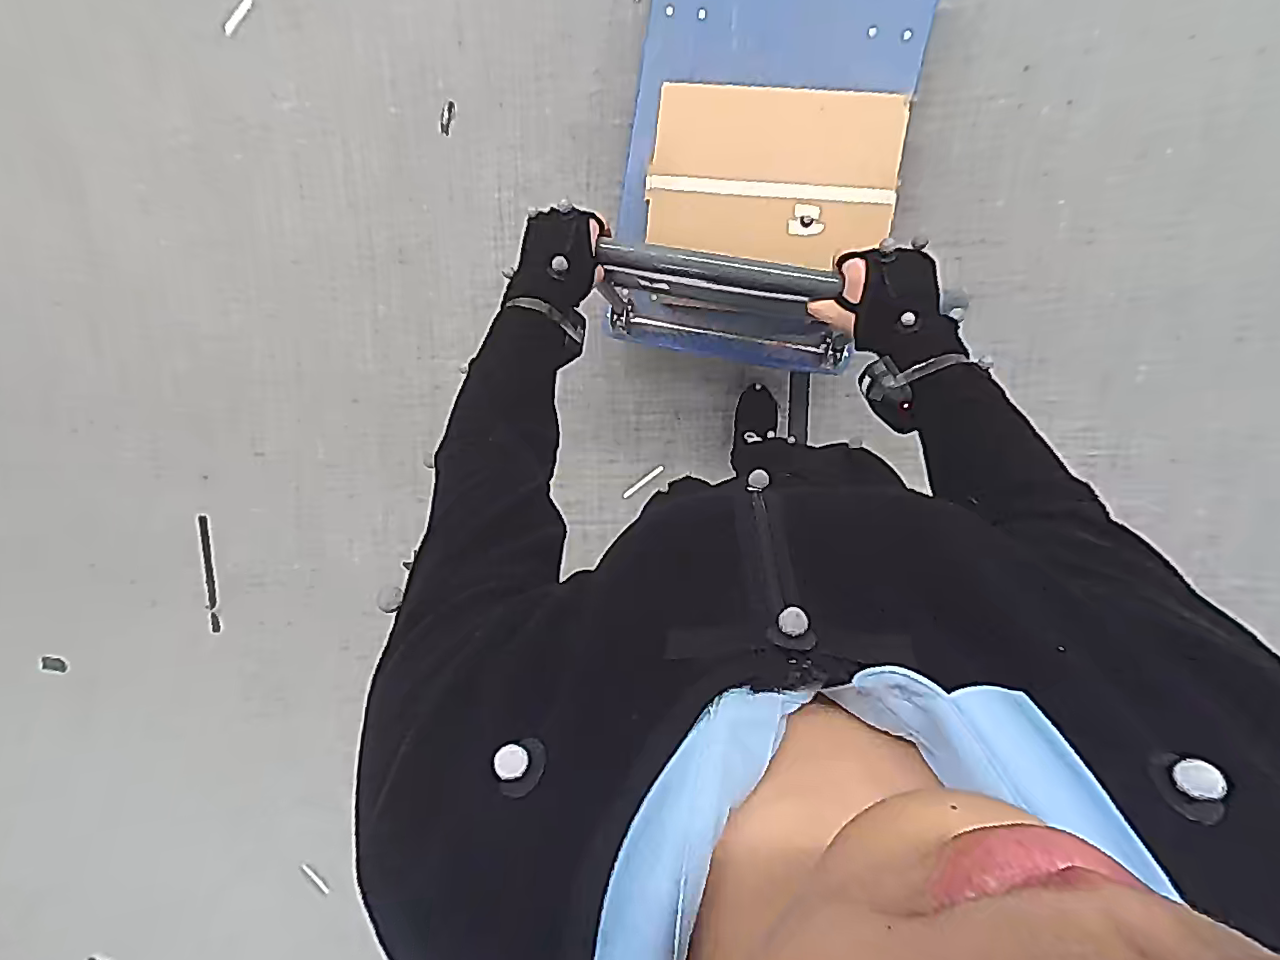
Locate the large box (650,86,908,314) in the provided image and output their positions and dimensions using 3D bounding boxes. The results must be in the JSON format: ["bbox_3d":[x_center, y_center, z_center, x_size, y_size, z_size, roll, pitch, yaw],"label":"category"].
[{"bbox_3d":[0.241,-0.519,1.065,0.408,0.320,0.320,7,101,5],"label":"large box"}]
